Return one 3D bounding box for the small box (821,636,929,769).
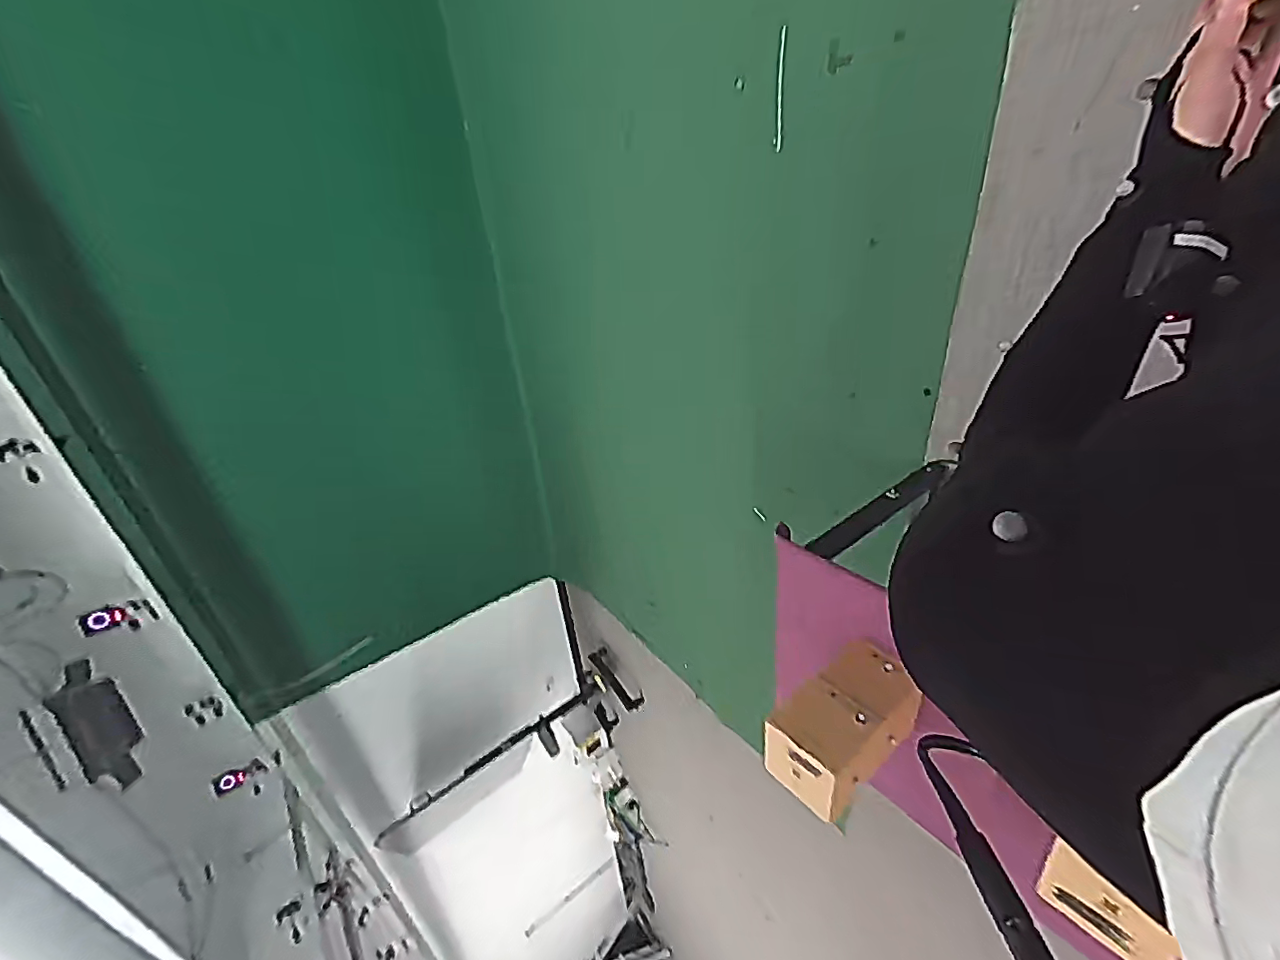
[{"bbox_3d":[0.520,0.490,1.212,0.168,0.176,0.179,29,135,44],"label":"small box"}]

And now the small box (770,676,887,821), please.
[{"bbox_3d":[0.392,0.550,1.129,0.168,0.176,0.179,28,136,45],"label":"small box"}]
